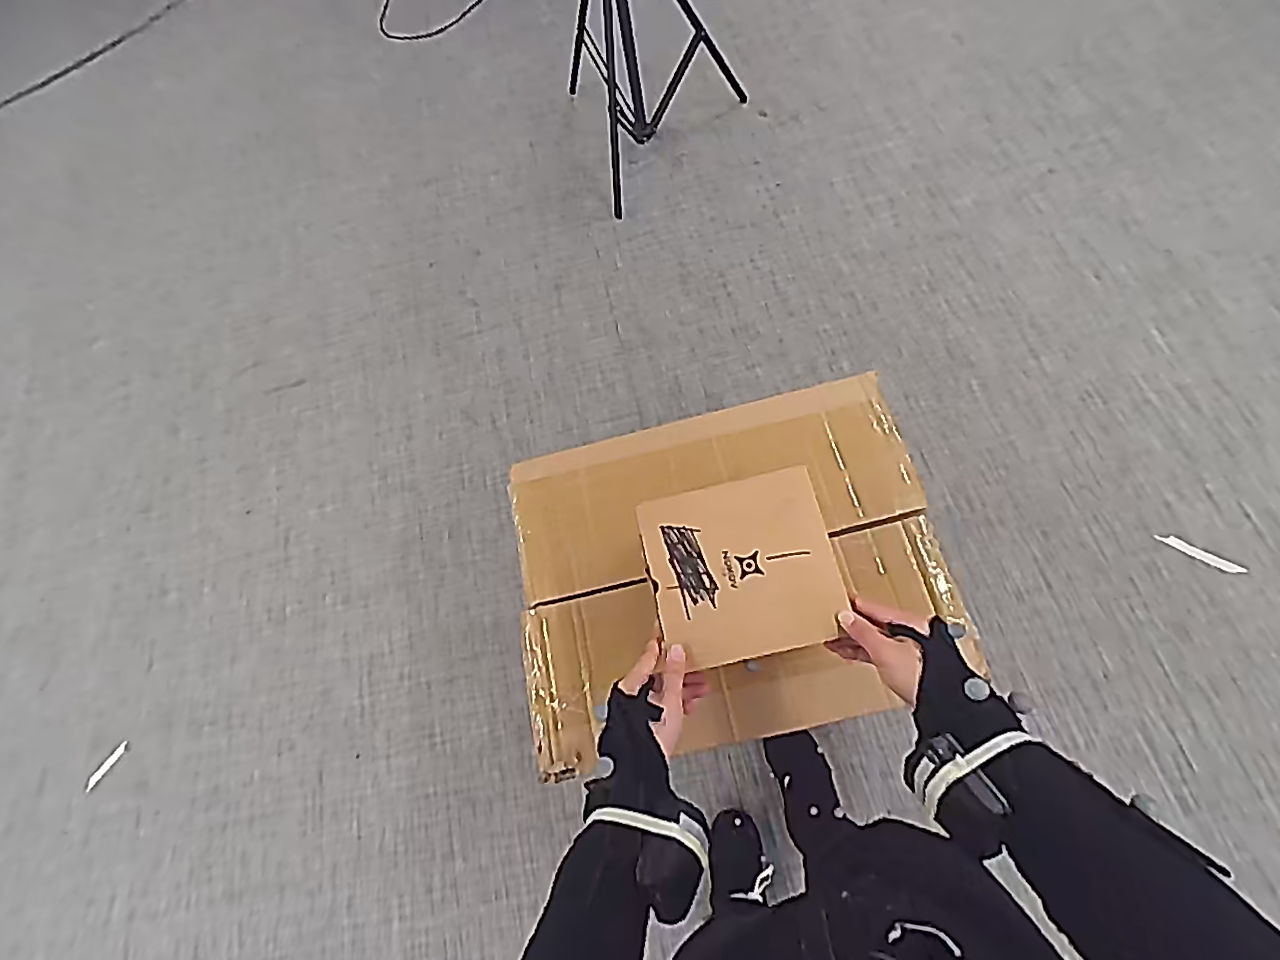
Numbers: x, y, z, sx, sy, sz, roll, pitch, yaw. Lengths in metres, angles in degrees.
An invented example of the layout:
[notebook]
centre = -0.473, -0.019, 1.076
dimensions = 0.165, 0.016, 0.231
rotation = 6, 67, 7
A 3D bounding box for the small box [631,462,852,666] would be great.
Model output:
[small box]
centre = 0.101, 0.098, 0.585
dimensions = 0.179, 0.176, 0.168
rotation = -14, 74, 3
